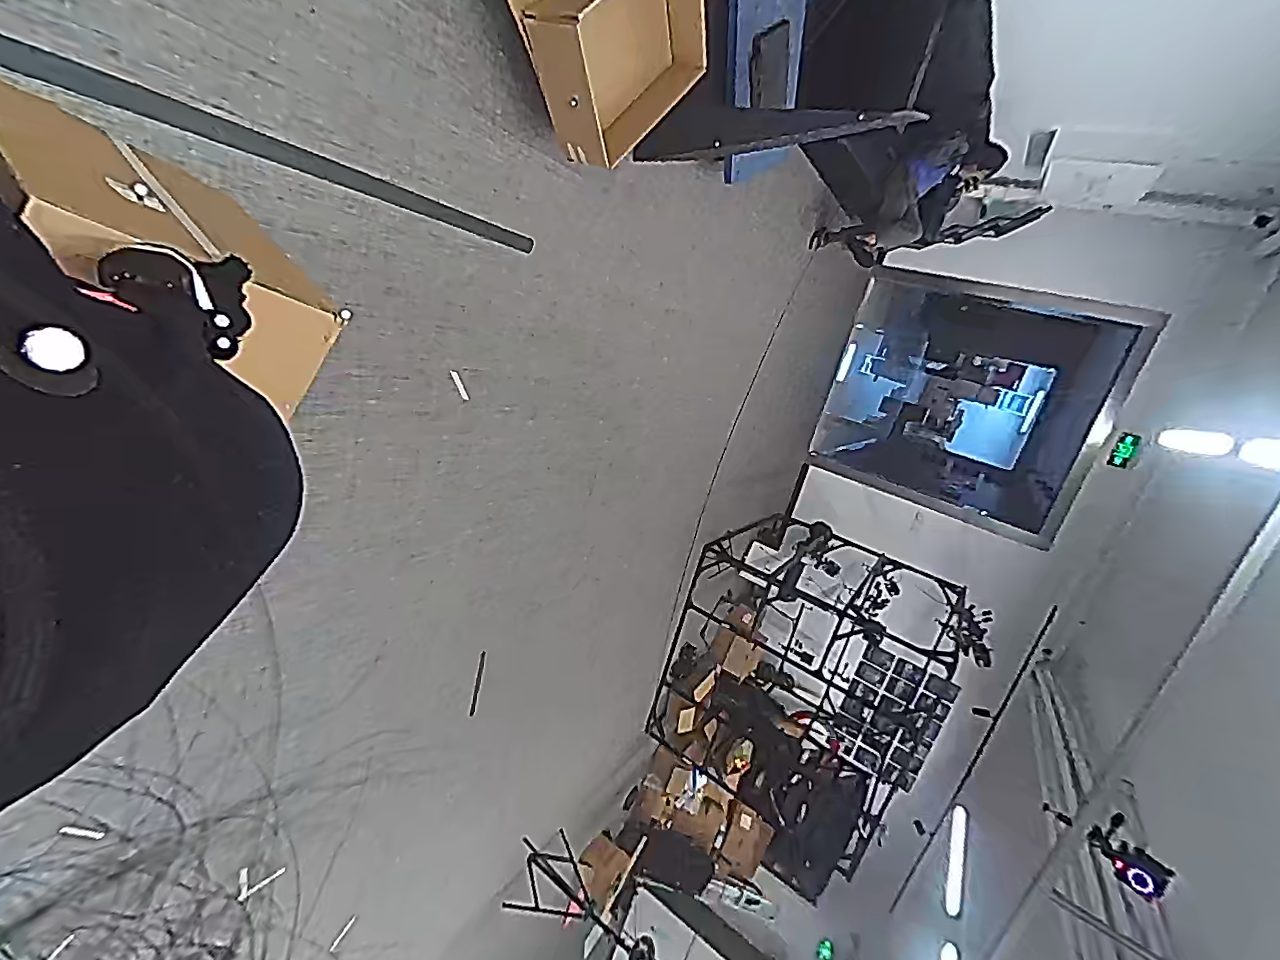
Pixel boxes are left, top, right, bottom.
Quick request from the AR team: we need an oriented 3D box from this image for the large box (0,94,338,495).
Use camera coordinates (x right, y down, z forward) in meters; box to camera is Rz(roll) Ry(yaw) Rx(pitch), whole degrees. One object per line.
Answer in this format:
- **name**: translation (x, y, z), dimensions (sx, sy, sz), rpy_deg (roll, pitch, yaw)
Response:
- **large box**: translation (-0.710, -0.228, 0.721), dimensions (0.320, 0.408, 0.320), rpy_deg (-53, 157, 12)
